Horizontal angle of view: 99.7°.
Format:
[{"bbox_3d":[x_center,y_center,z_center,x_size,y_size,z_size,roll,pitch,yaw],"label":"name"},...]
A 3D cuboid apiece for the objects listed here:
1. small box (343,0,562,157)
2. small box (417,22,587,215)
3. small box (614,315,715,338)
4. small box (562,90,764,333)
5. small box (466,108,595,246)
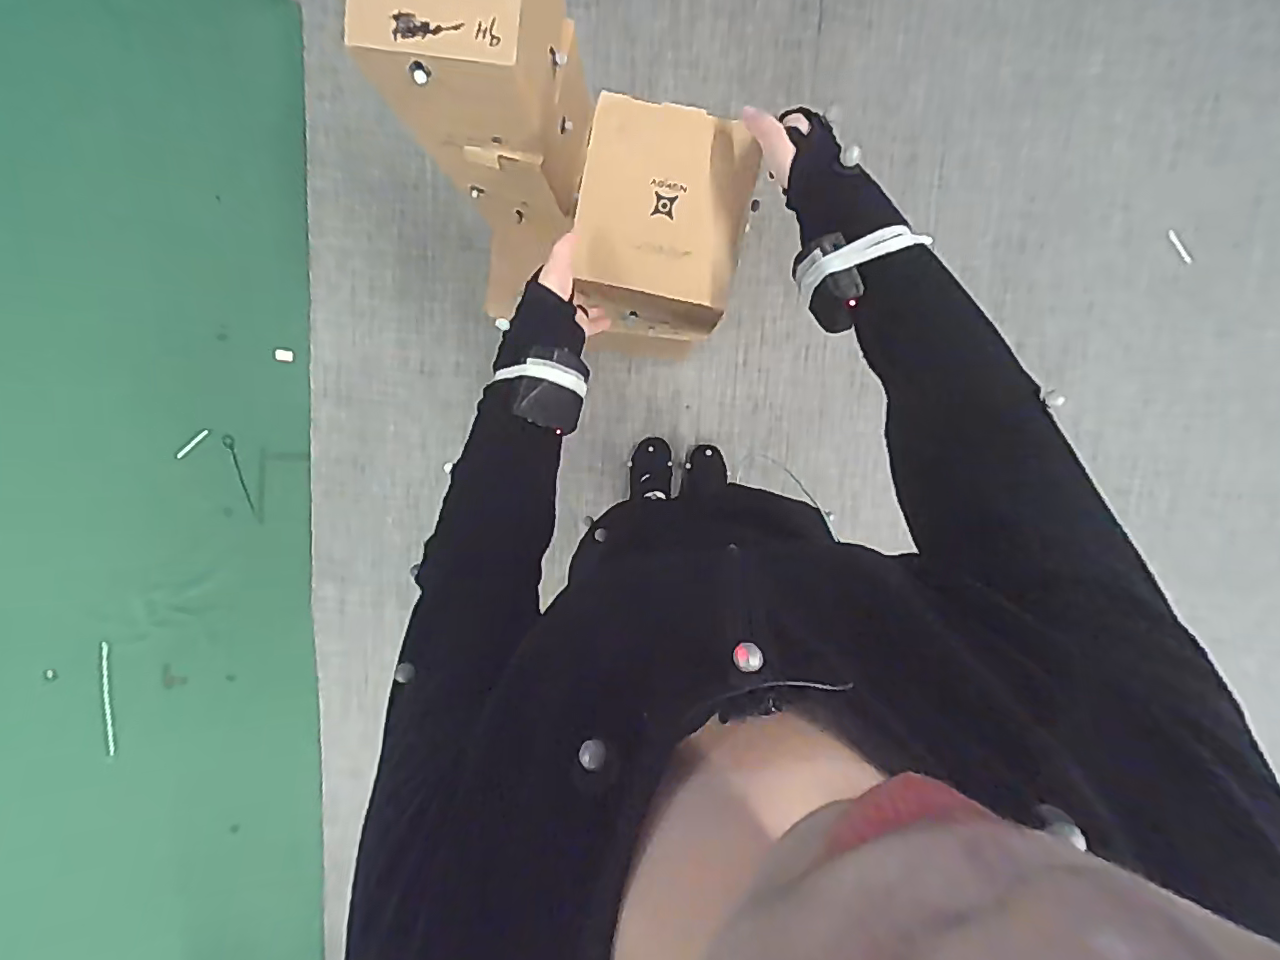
[{"bbox_3d":[-0.185,-0.488,0.581,0.168,0.176,0.179,8,95,1],"label":"small box"},{"bbox_3d":[-0.177,-0.498,0.746,0.168,0.176,0.179,15,95,0],"label":"small box"},{"bbox_3d":[0.049,-0.344,0.920,0.168,0.176,0.179,5,96,1],"label":"small box"},{"bbox_3d":[0.022,-0.276,0.599,0.168,0.176,0.179,13,97,1],"label":"small box"},{"bbox_3d":[-0.168,-0.512,0.910,0.179,0.176,0.168,13,96,-1],"label":"small box"}]
